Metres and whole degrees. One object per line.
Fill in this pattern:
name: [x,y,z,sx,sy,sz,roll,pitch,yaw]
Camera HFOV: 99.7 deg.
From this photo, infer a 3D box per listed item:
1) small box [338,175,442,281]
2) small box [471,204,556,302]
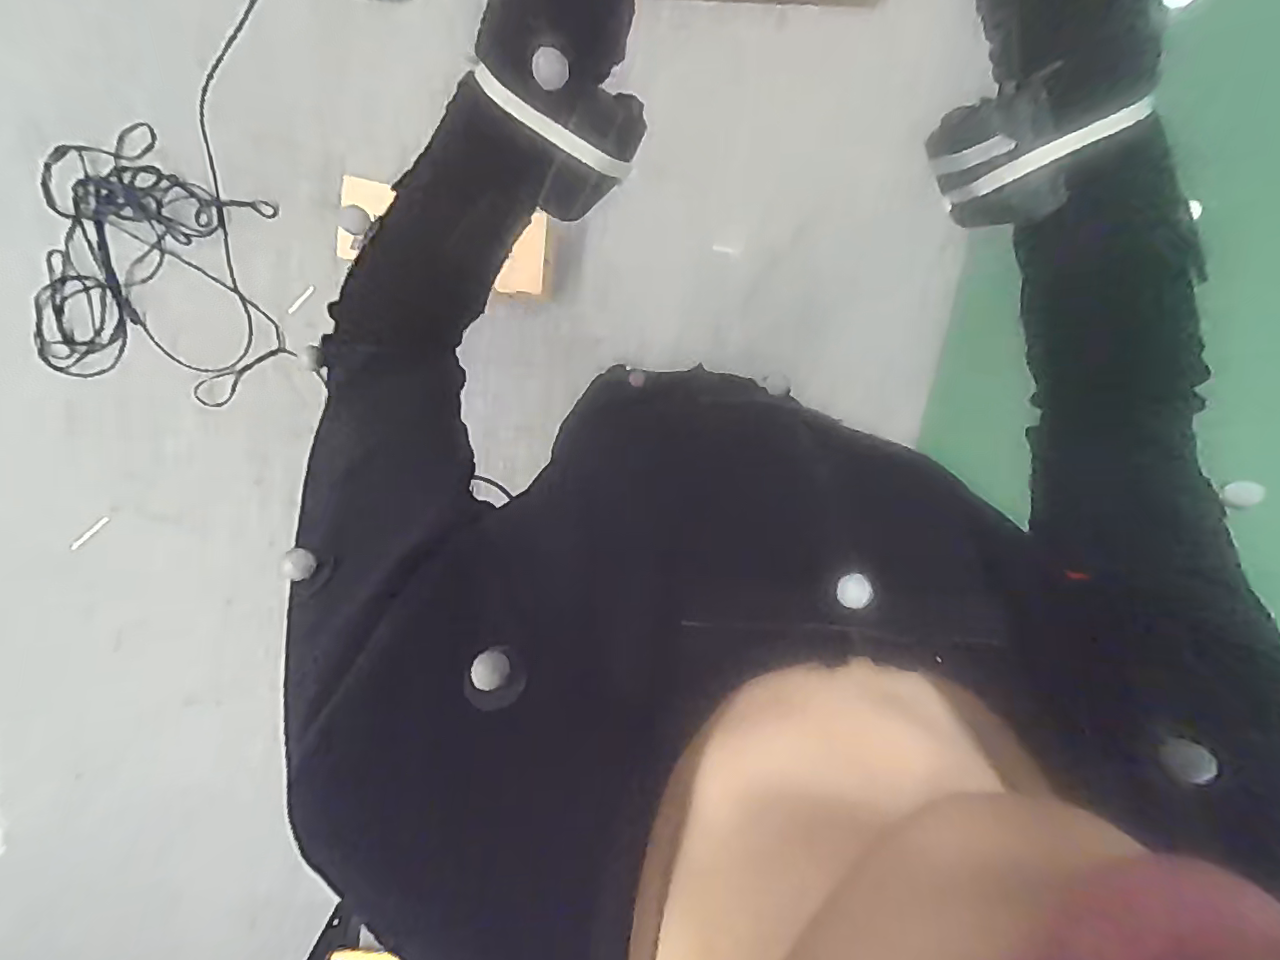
small box: [-0.583,-0.584,1.279,0.168,0.176,0.179,11,100,-3]
small box: [-0.297,-0.536,1.296,0.168,0.176,0.179,6,101,-2]
